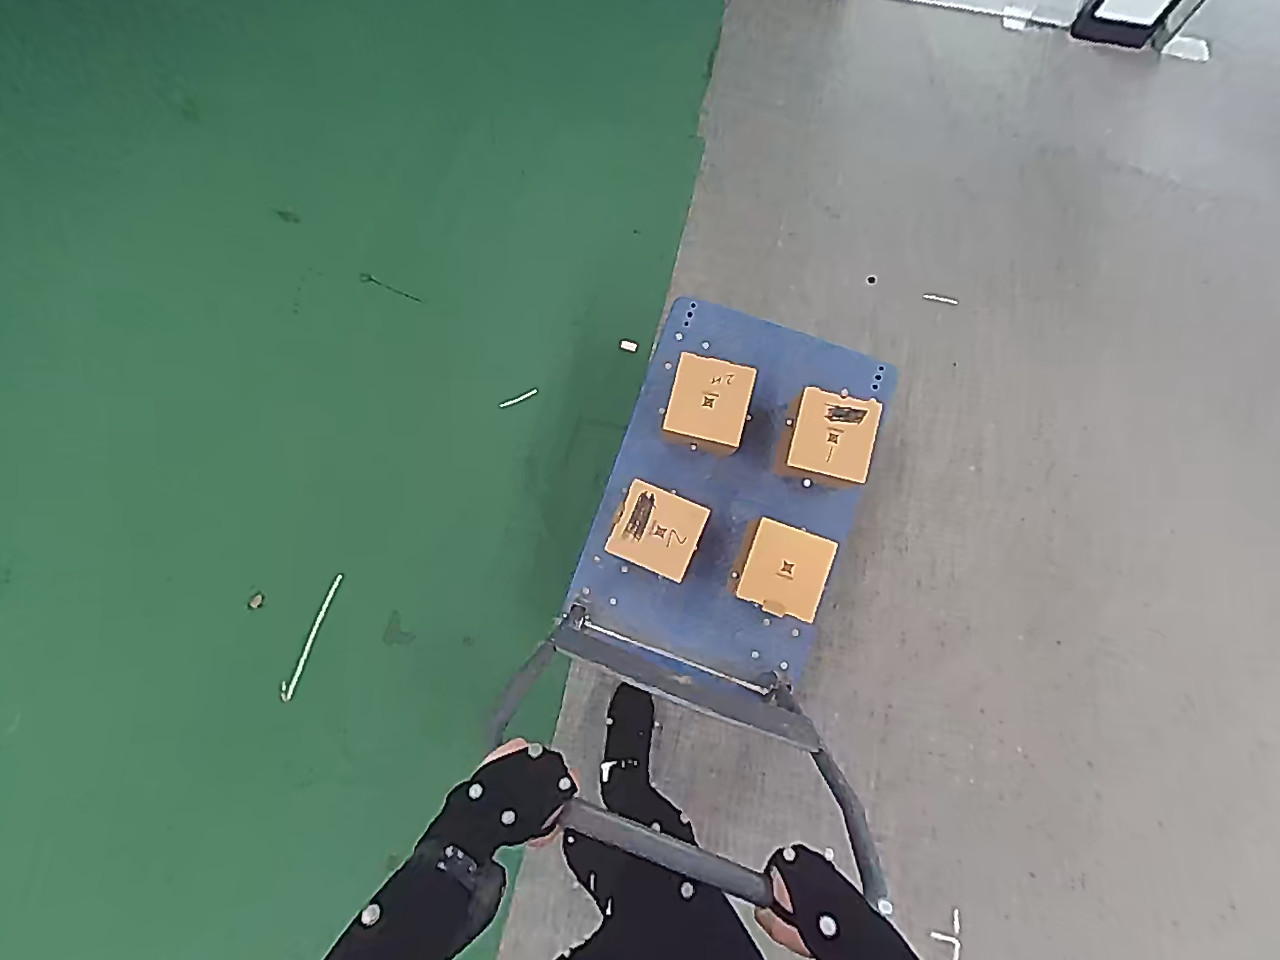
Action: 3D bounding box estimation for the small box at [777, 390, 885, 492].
[{"bbox_3d":[0.414,-0.079,1.199,0.168,0.176,0.179,15,86,4],"label":"small box"}]

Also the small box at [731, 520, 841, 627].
[{"bbox_3d":[0.307,0.196,1.178,0.168,0.176,0.179,20,86,4],"label":"small box"}]

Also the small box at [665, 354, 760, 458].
[{"bbox_3d":[0.157,-0.157,1.216,0.168,0.176,0.179,15,85,3],"label":"small box"}]
